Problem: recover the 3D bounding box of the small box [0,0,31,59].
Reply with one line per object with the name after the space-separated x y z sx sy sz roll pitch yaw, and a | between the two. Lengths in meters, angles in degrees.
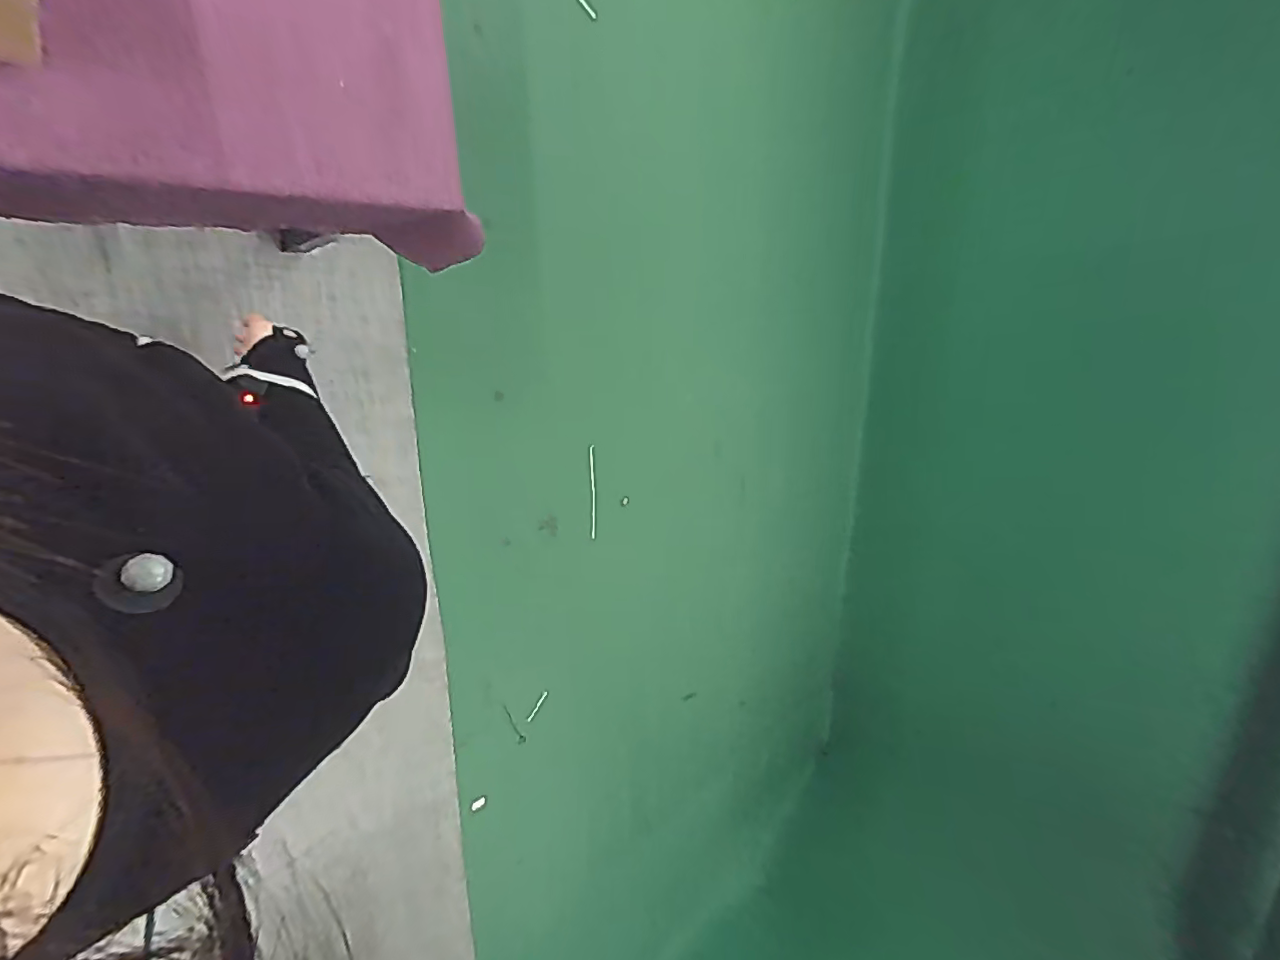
-0.562 -0.429 0.367 0.168 0.176 0.179 -20 115 -43 | small box
